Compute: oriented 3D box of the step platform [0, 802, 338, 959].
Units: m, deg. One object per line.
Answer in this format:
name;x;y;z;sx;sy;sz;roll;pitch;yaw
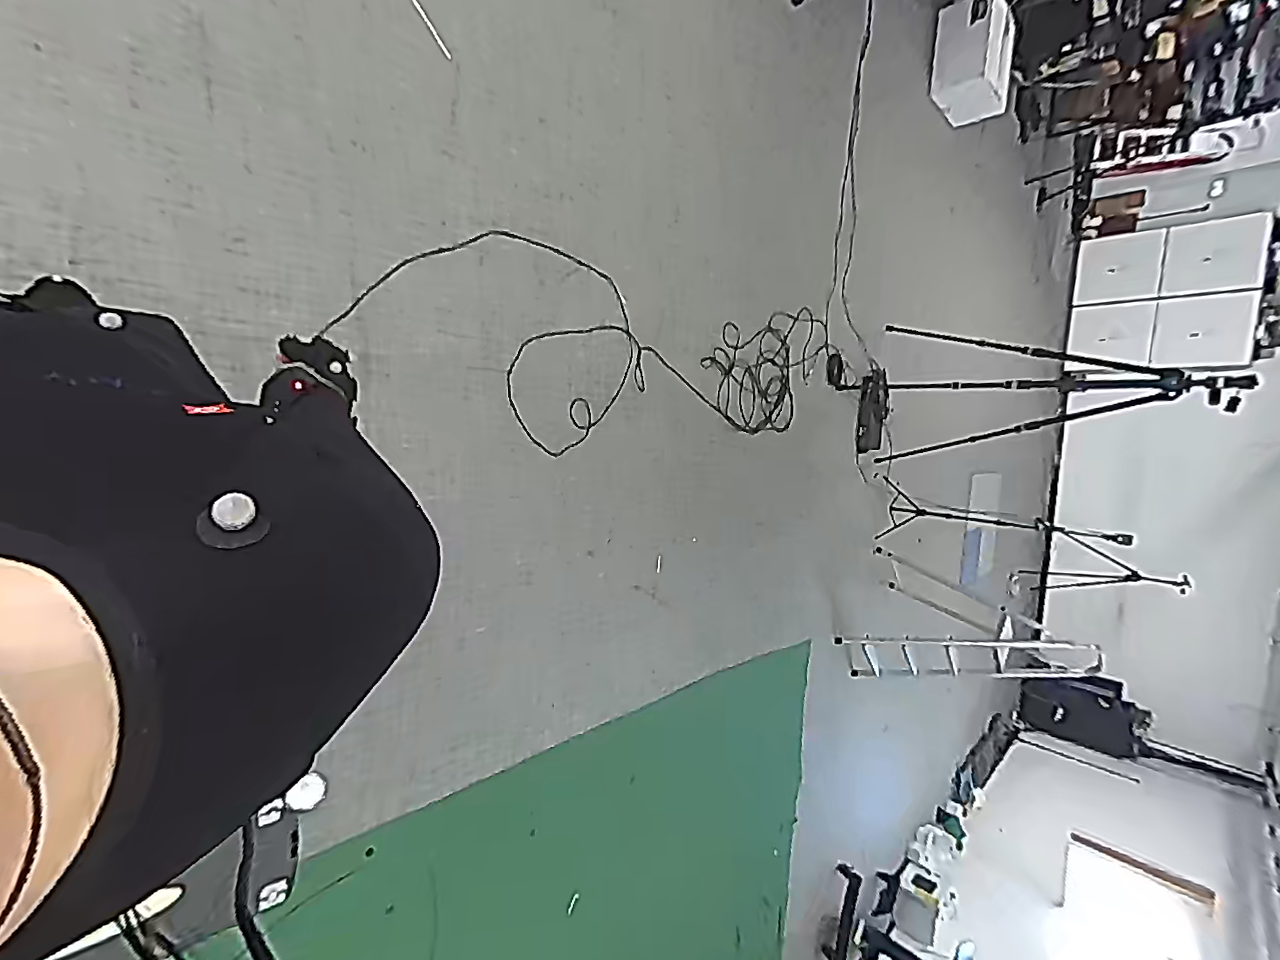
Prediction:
step platform;-0.928;0.860;0.937;0.684;0.204;0.286;-3;97;-45
